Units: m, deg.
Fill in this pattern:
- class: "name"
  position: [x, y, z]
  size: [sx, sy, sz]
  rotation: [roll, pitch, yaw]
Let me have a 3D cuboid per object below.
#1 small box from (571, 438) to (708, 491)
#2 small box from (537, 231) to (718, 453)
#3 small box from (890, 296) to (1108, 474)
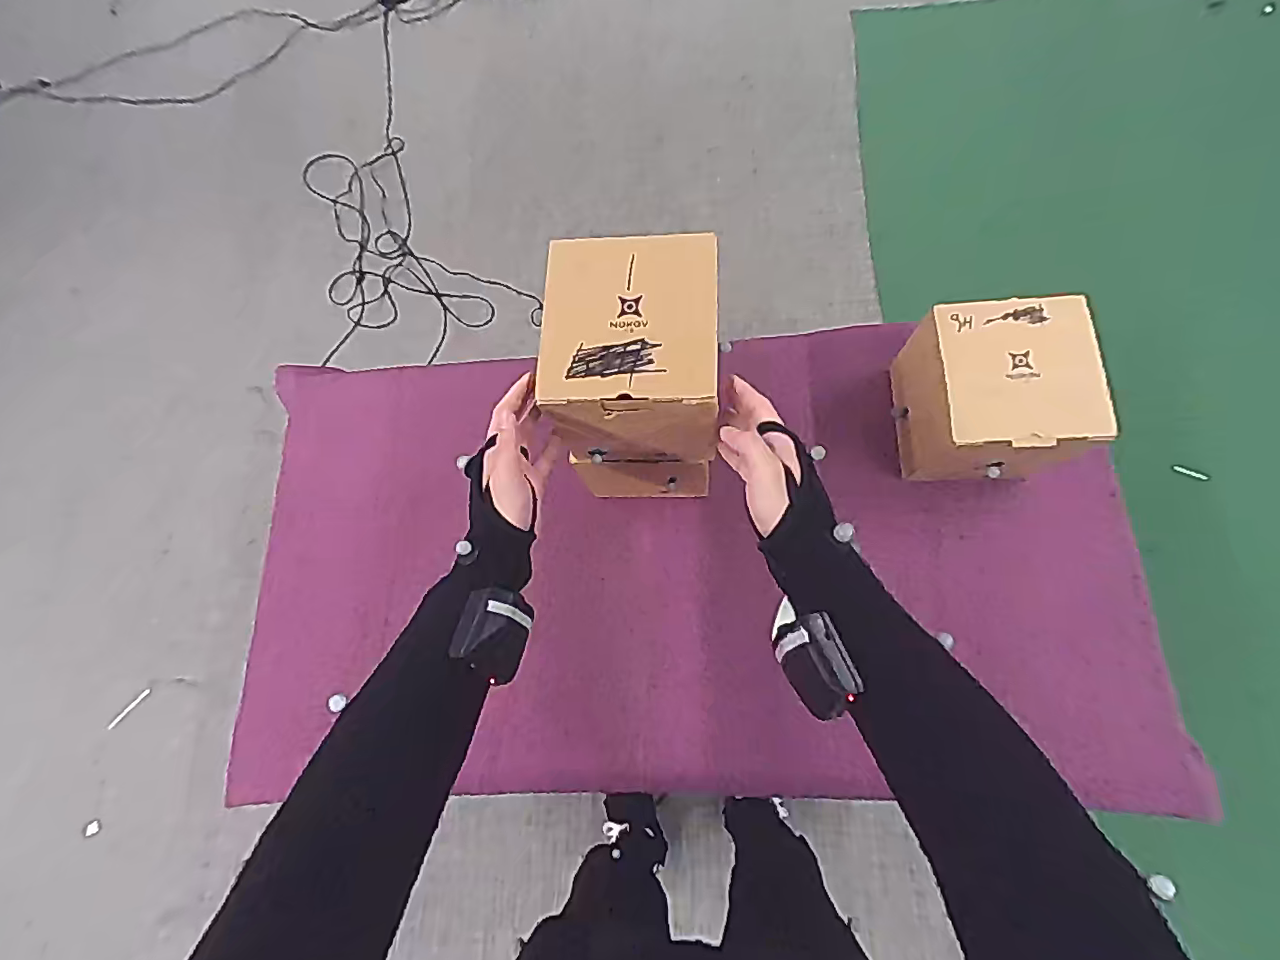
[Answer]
- class: "small box"
  position: [0.010, -0.086, 0.735]
  size: [0.168, 0.176, 0.179]
  rotation: [1, 74, 7]
- class: "small box"
  position: [0.000, -0.133, 0.578]
  size: [0.168, 0.176, 0.179]
  rotation: [1, 73, 6]
- class: "small box"
  position: [0.433, -0.106, 0.684]
  size: [0.168, 0.176, 0.179]
  rotation: [-1, 77, 7]
